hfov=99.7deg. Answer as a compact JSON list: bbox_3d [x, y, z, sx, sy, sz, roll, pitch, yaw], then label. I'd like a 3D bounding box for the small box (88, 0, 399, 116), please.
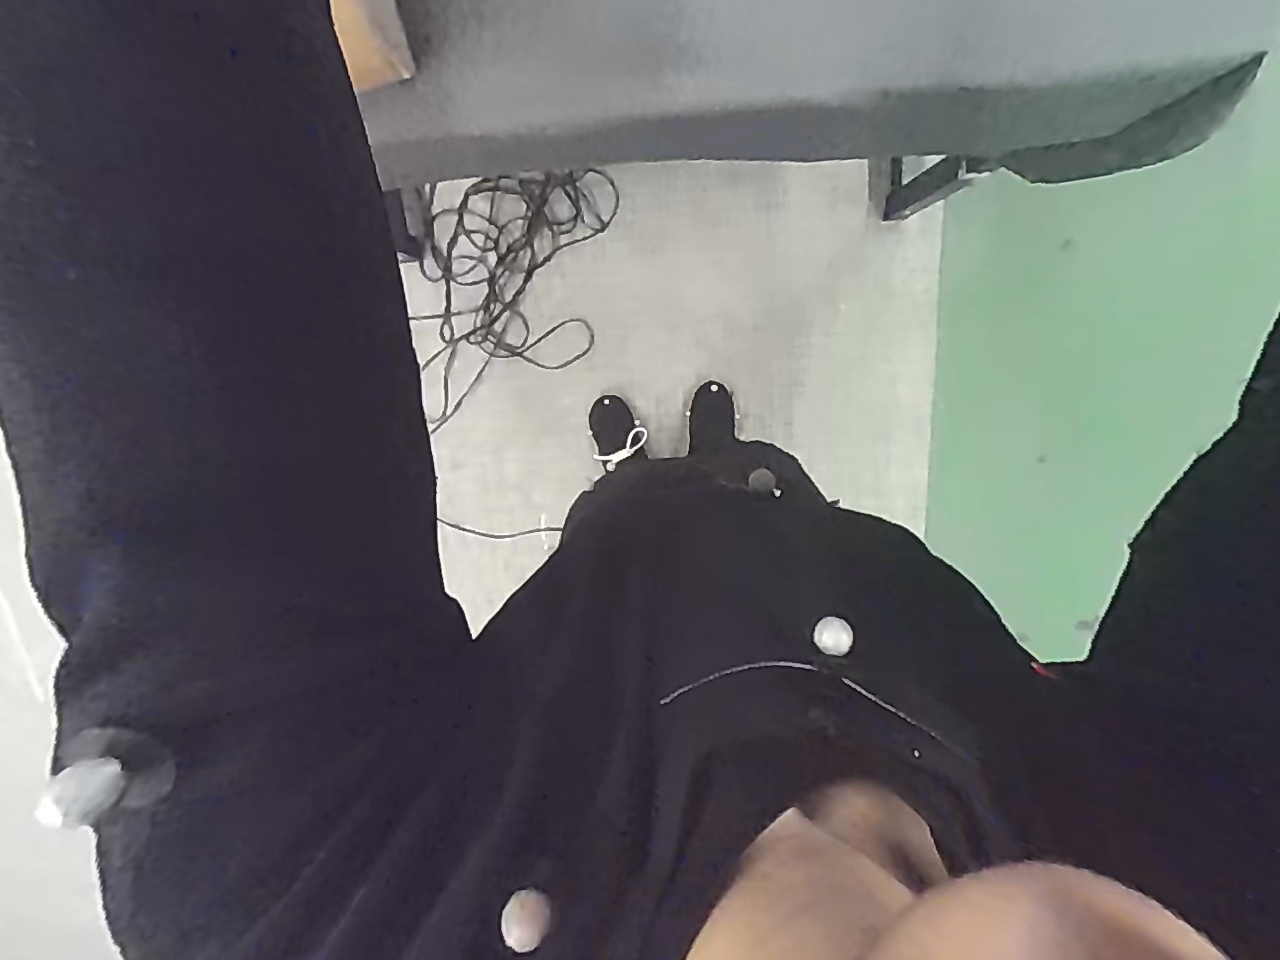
[{"bbox_3d":[-0.326,-0.442,0.445,0.179,0.176,0.168,-14,101,4],"label":"small box"}]
